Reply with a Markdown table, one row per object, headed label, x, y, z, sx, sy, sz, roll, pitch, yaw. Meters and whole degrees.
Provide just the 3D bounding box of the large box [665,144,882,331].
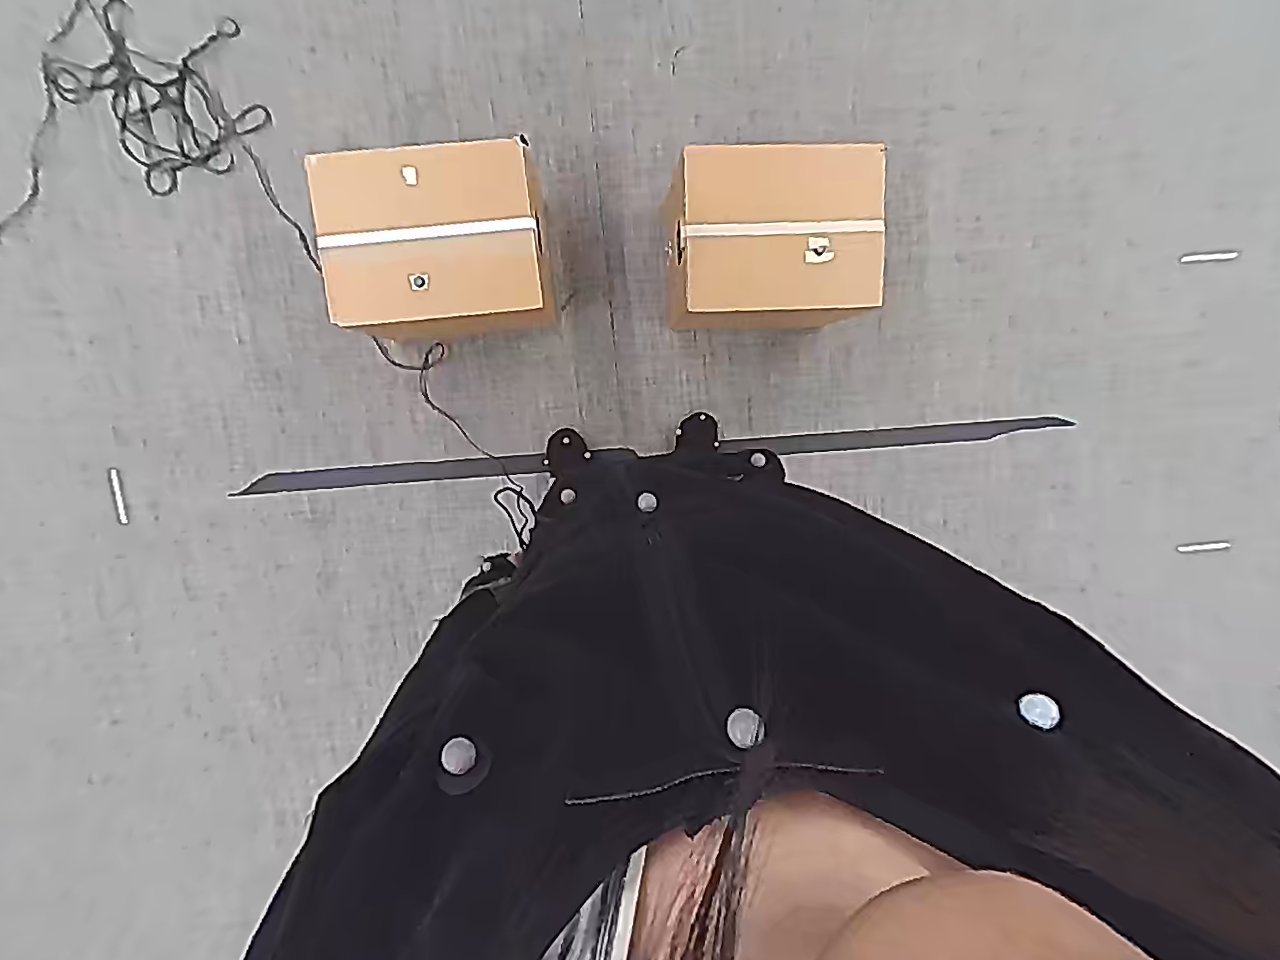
| label | x | y | z | sx | sy | sz | roll | pitch | yaw |
| --- | --- | --- | --- | --- | --- | --- | --- | --- | --- |
| large box | 0.277 | -0.525 | 1.228 | 0.408 | 0.320 | 0.320 | -3 | 99 | -4 |
